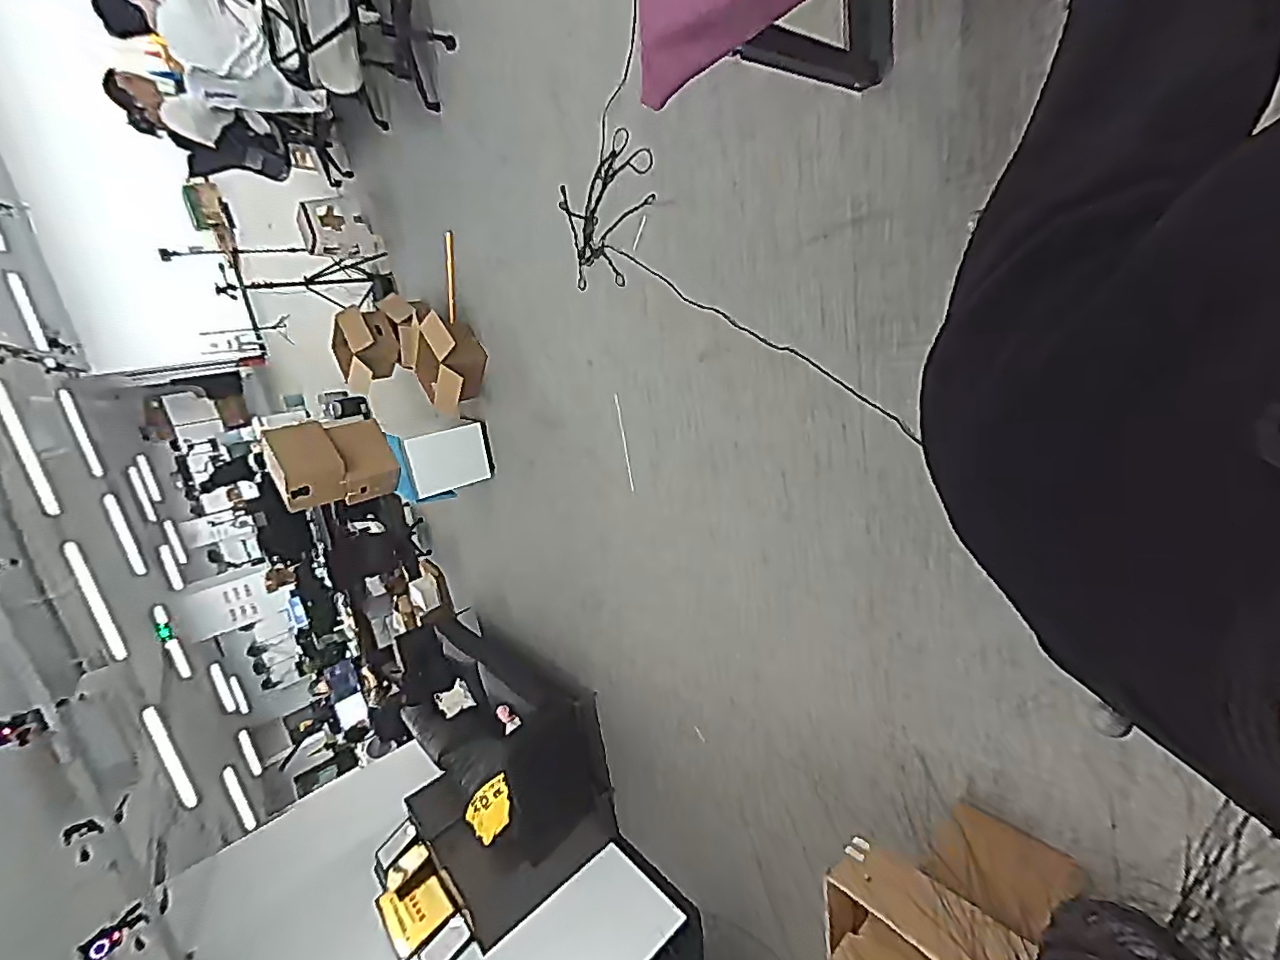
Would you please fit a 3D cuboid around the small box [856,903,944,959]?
[{"bbox_3d":[0.689,1.298,1.445,0.168,0.176,0.179,19,120,47],"label":"small box"}]

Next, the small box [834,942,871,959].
[{"bbox_3d":[0.555,1.337,1.358,0.179,0.176,0.168,17,118,48],"label":"small box"}]
